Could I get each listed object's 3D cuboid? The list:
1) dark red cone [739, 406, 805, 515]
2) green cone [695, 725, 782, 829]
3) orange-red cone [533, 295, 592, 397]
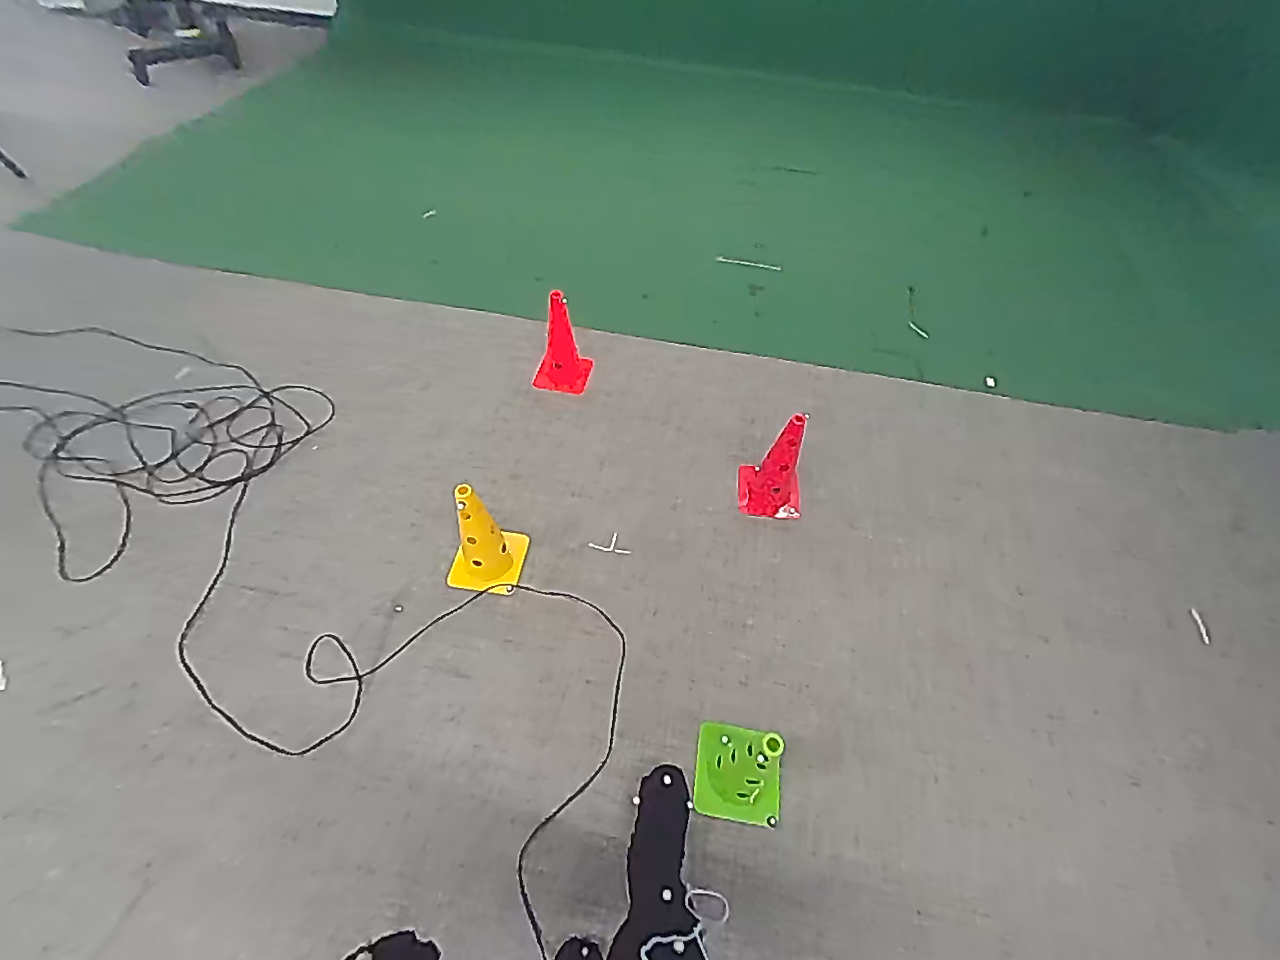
[{"bbox_3d":[0.430,-0.072,1.635,0.202,0.394,0.201,6,52,1],"label":"dark red cone"},{"bbox_3d":[0.241,0.600,1.155,0.202,0.368,0.200,8,53,4],"label":"green cone"},{"bbox_3d":[-0.291,-0.500,1.943,0.198,0.360,0.199,10,54,5],"label":"orange-red cone"}]
